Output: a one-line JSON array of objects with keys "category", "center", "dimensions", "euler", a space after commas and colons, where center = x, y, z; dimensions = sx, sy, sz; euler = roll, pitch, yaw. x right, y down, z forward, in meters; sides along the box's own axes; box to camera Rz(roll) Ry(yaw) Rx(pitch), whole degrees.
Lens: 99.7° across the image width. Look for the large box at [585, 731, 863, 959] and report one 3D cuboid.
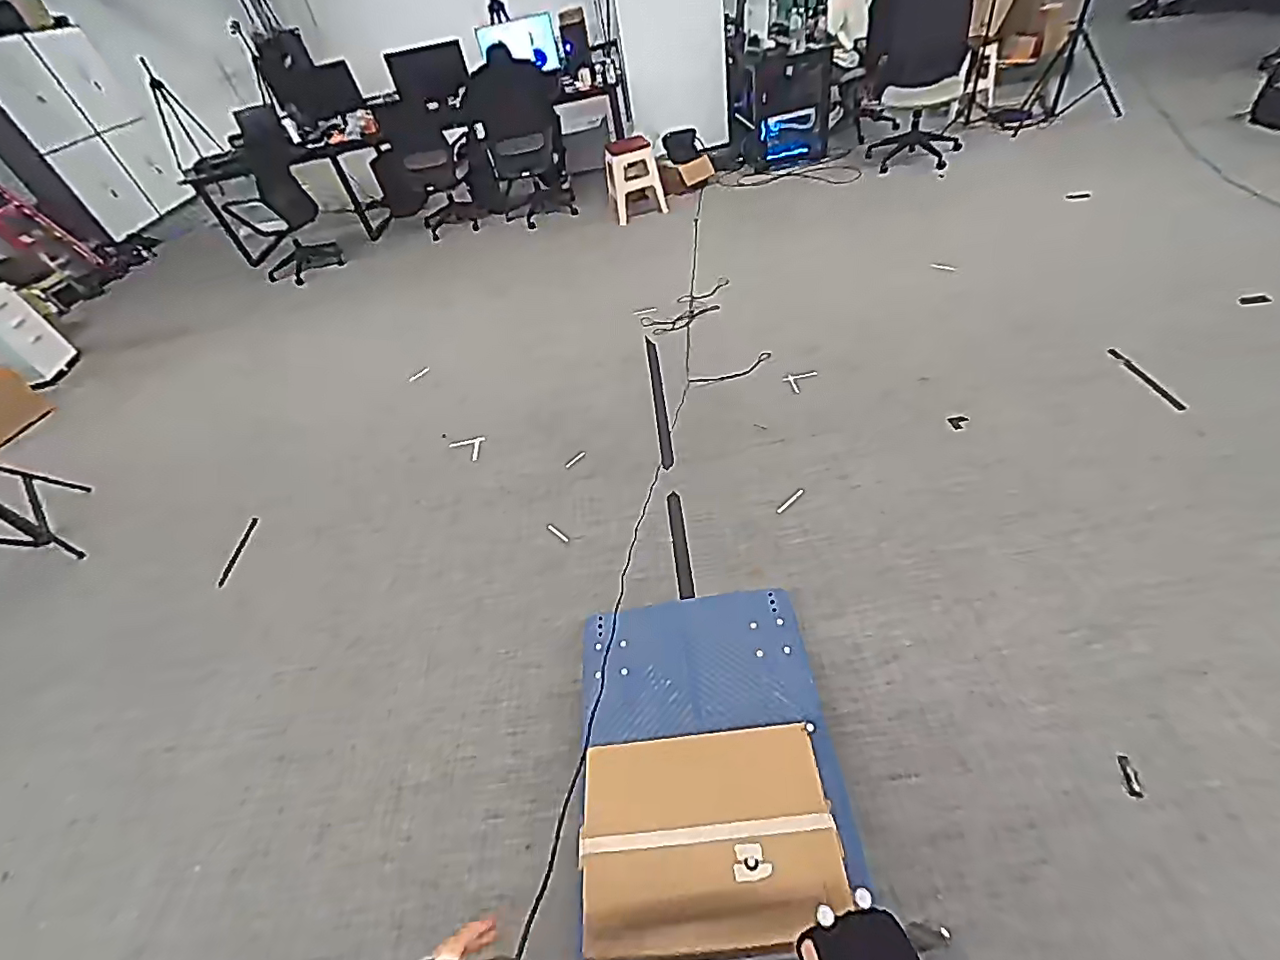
[{"category": "large box", "center": [0.129, 0.688, 0.967], "dimensions": [0.408, 0.320, 0.320], "euler": [-9, 44, 5]}]
